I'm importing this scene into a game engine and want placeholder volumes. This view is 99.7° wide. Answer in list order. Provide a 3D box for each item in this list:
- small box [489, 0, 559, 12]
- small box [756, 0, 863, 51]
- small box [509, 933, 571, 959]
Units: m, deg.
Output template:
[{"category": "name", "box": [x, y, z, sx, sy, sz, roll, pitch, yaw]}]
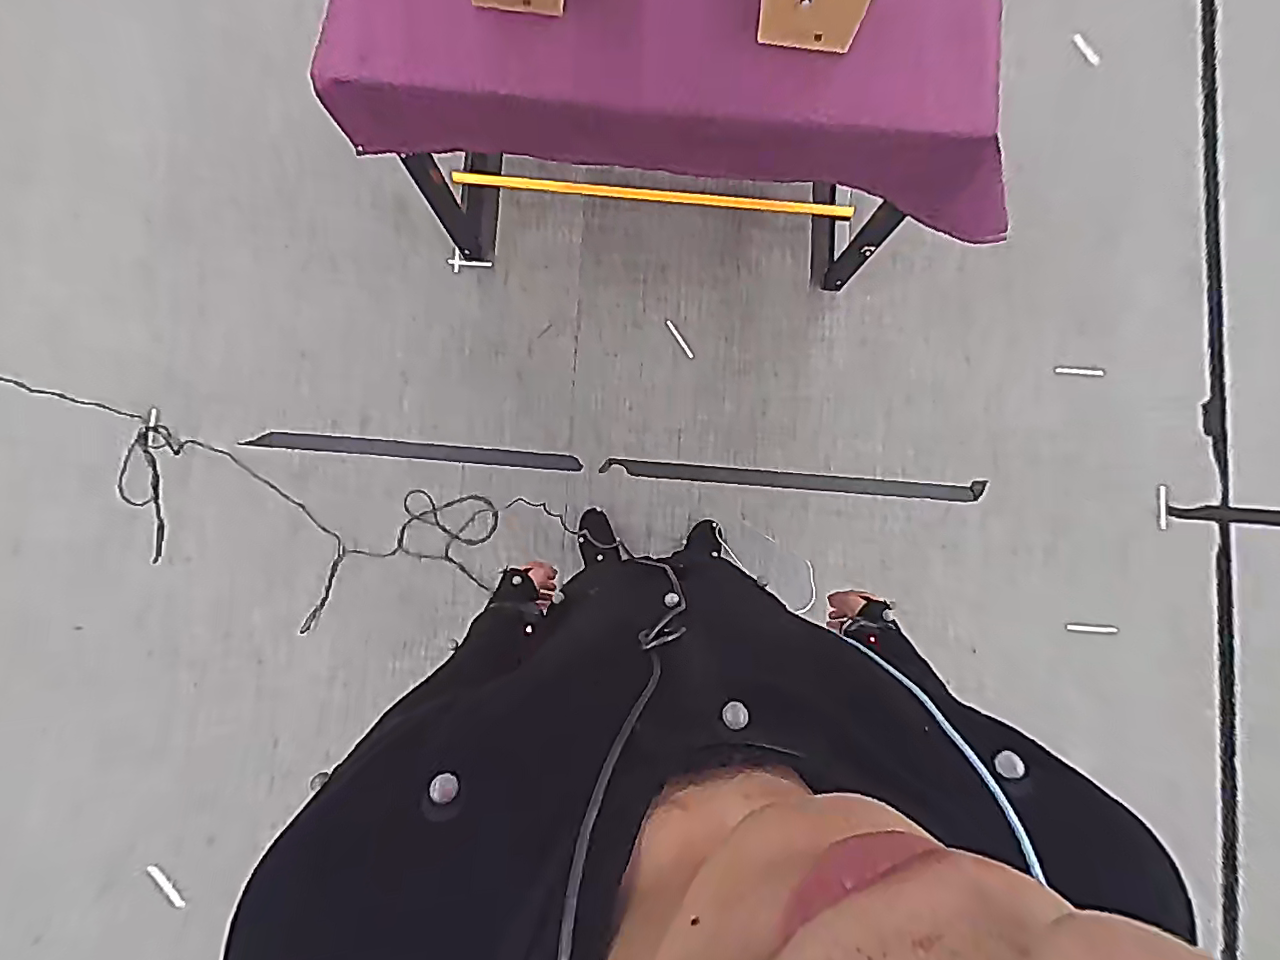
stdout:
[{"category": "small box", "box": [-0.217, -0.939, 0.900, 0.168, 0.176, 0.179, 7, 86, -2]}, {"category": "small box", "box": [0.300, -0.877, 0.913, 0.168, 0.176, 0.179, 6, 85, -1]}, {"category": "small box", "box": [-0.281, 1.394, 1.488, 0.168, 0.176, 0.179, 0, 87, -1]}]
